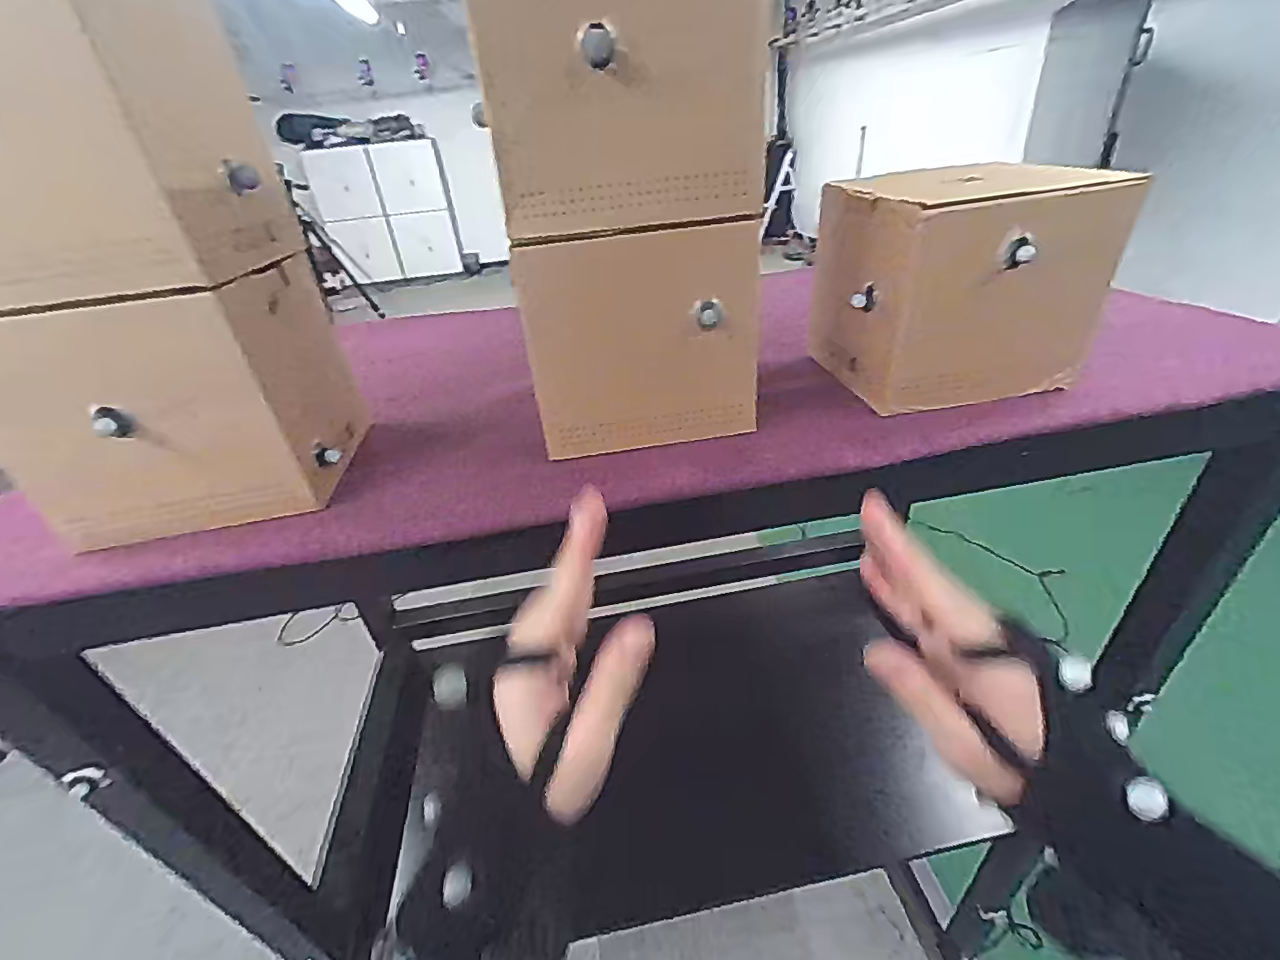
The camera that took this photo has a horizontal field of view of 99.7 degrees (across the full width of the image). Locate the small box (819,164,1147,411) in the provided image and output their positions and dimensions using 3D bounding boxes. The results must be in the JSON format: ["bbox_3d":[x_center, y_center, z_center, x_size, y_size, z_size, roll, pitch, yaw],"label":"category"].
[{"bbox_3d":[0.271,-0.173,0.483,0.179,0.176,0.168,-8,34,-3],"label":"small box"}]

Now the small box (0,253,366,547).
[{"bbox_3d":[-0.346,-0.071,0.428,0.179,0.176,0.168,-11,32,-6],"label":"small box"}]

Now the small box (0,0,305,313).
[{"bbox_3d":[-0.359,-0.211,0.342,0.179,0.176,0.168,-9,32,-5],"label":"small box"}]

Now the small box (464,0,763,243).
[{"bbox_3d":[-0.016,-0.277,0.389,0.179,0.176,0.168,-9,32,-3],"label":"small box"}]
